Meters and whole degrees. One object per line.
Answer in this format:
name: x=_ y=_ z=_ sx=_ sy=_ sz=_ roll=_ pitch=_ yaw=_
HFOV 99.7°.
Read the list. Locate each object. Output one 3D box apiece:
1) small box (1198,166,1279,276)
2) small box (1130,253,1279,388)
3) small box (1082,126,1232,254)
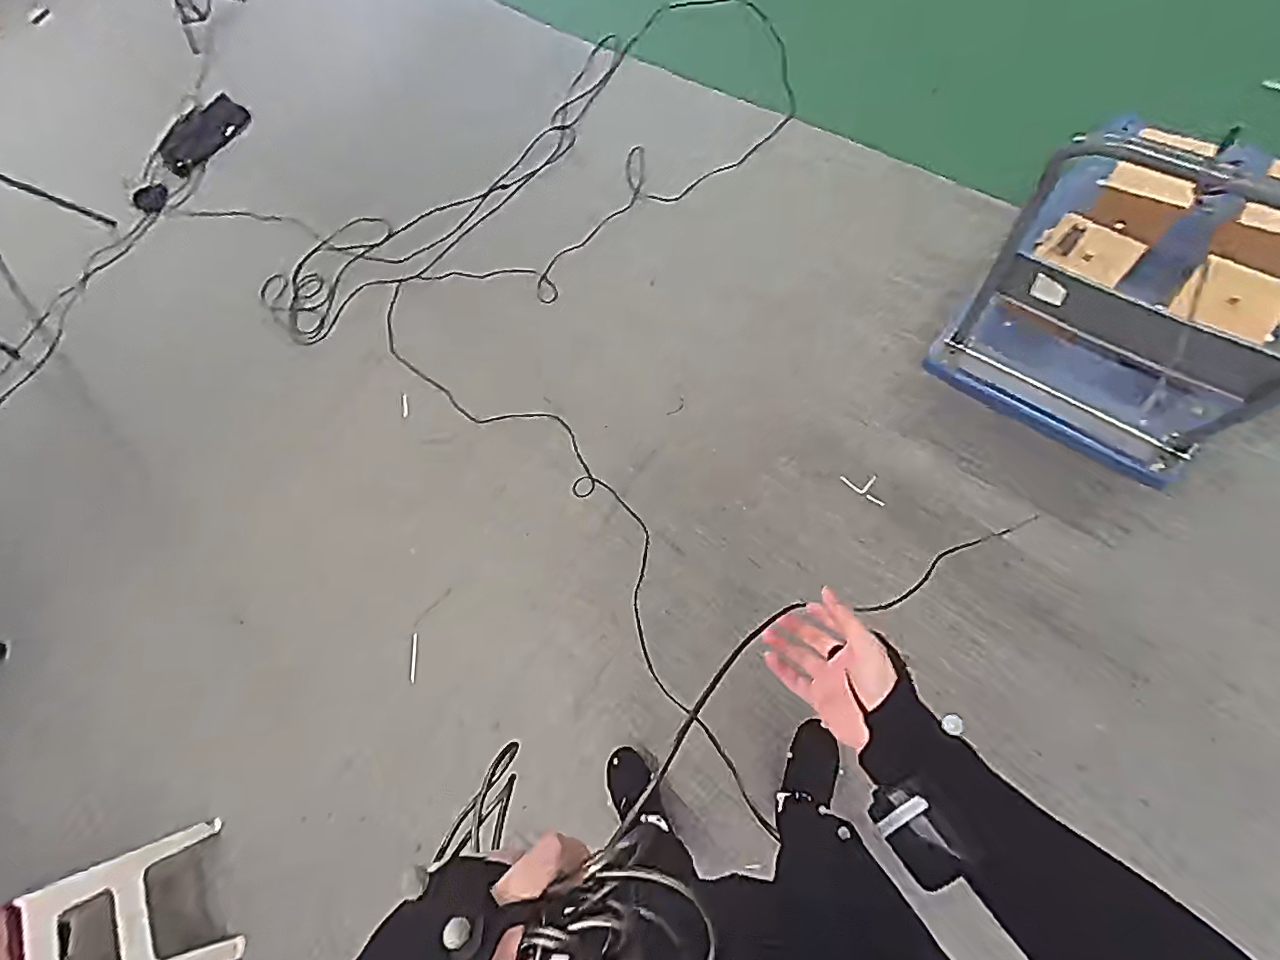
small box: x=1.375 y=-0.537 z=1.160 sx=0.168 sy=0.176 sz=0.179 roll=34 pitch=85 yaw=23
small box: x=1.204 y=-0.329 z=1.142 sx=0.168 sy=0.176 sz=0.179 roll=39 pitch=87 yaw=23
small box: x=1.181 y=-0.665 z=1.256 sx=0.168 sy=0.176 sz=0.179 roll=34 pitch=84 yaw=22
